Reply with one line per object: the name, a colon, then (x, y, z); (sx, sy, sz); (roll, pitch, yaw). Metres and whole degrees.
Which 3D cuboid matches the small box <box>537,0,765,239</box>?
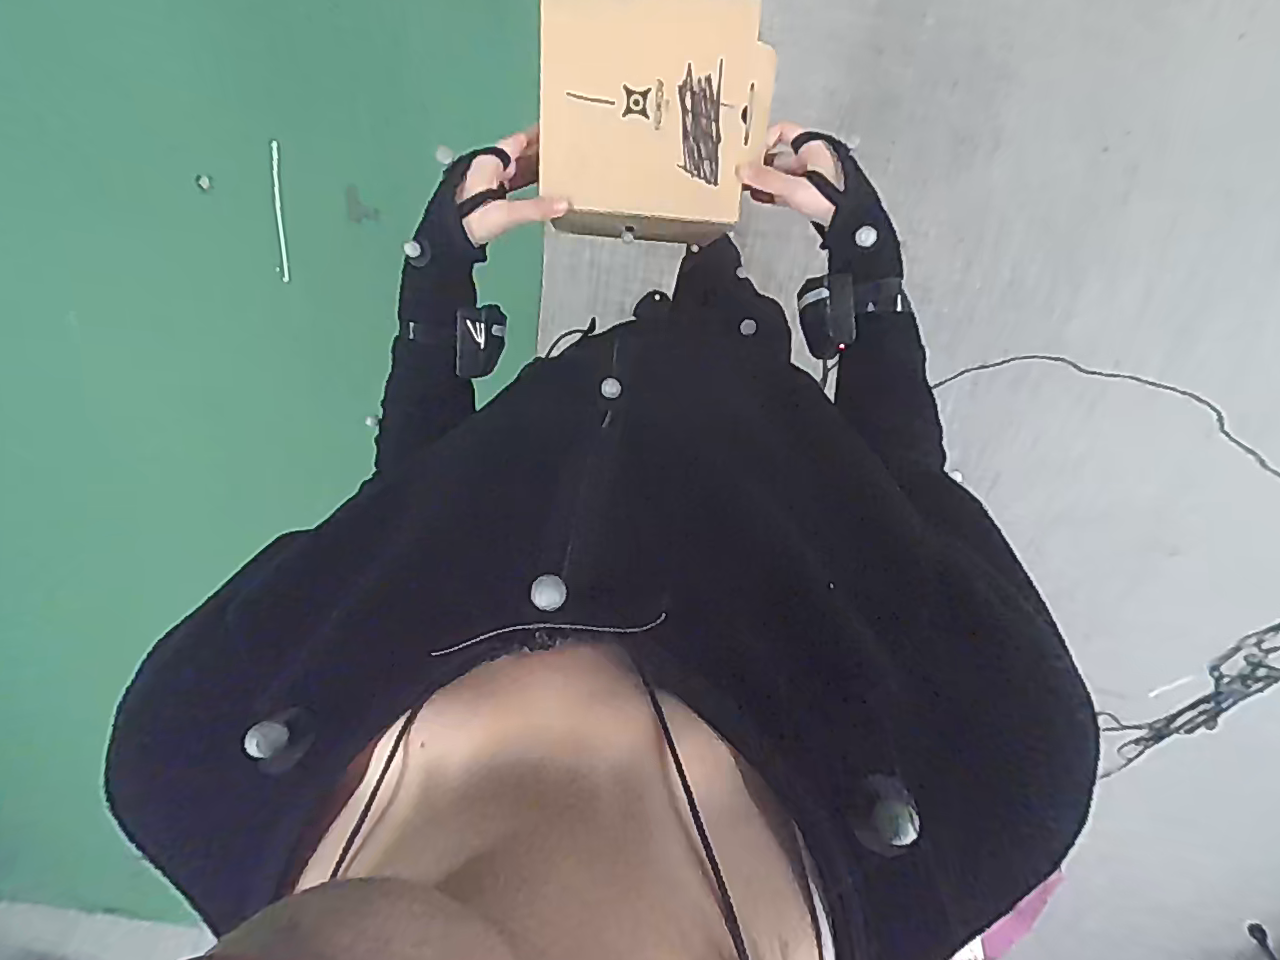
small box: (0.002, -0.331, 0.512); (0.179, 0.176, 0.168); (3, 106, -3)
